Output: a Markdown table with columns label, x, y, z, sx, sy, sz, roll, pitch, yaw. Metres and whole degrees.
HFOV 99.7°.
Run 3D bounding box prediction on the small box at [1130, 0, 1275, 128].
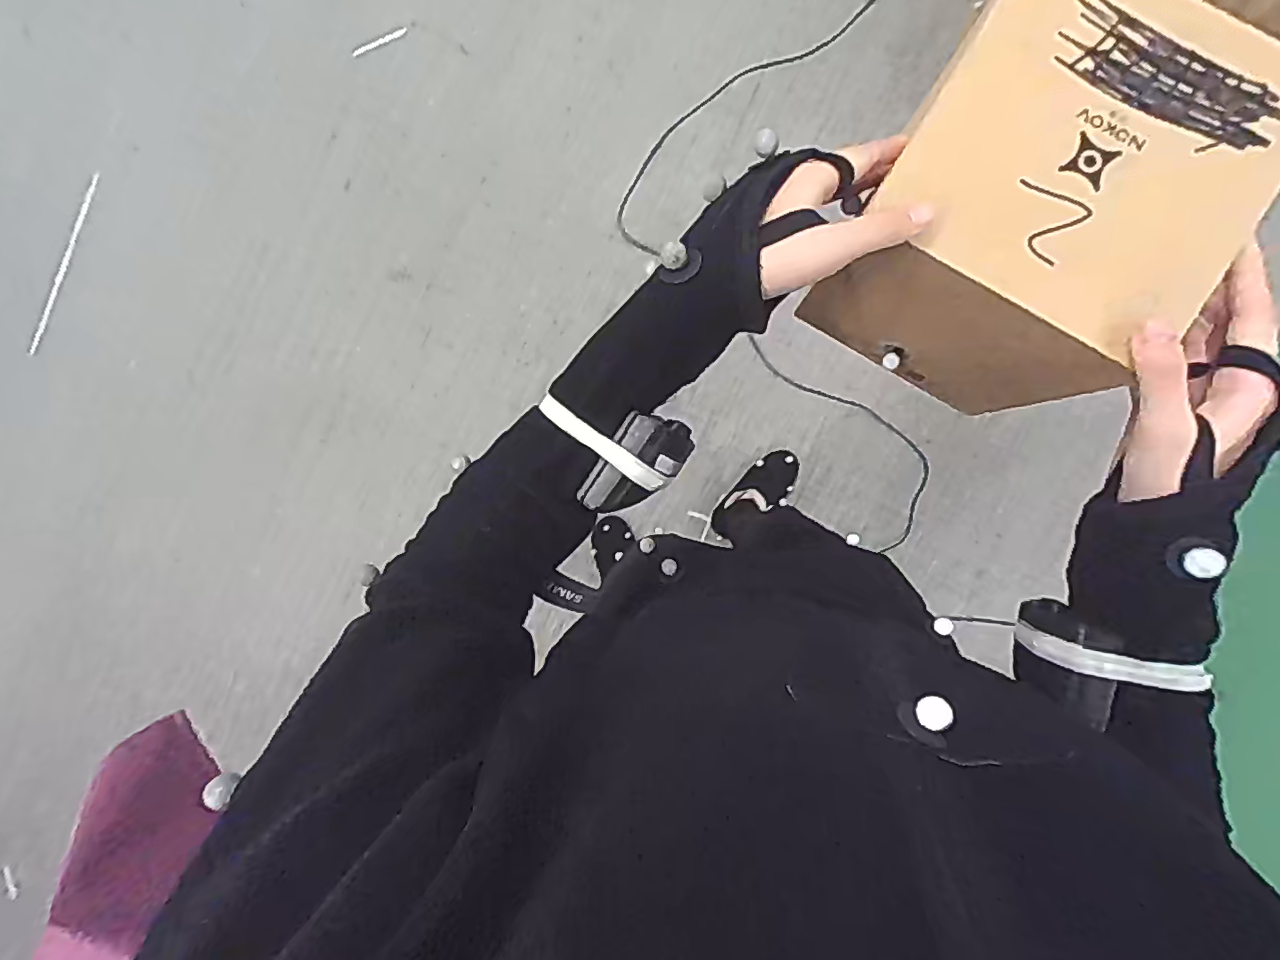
| label | x | y | z | sx | sy | sz | roll | pitch | yaw |
| --- | --- | --- | --- | --- | --- | --- | --- | --- | --- |
| small box | 1.181 | -0.870 | 1.112 | 0.179 | 0.176 | 0.168 | 22 | 95 | 1 |

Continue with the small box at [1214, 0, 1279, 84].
| label | x | y | z | sx | sy | sz | roll | pitch | yaw |
| --- | --- | --- | --- | --- | --- | --- | --- | --- | --- |
| small box | 1.187 | -0.851 | 0.947 | 0.168 | 0.176 | 0.179 | 22 | 94 | 0 |

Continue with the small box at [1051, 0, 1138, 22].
| label | x | y | z | sx | sy | sz | roll | pitch | yaw |
| --- | --- | --- | --- | --- | --- | --- | --- | --- | --- |
| small box | 0.859 | -0.972 | 0.954 | 0.179 | 0.176 | 0.168 | 22 | 96 | 0 |
